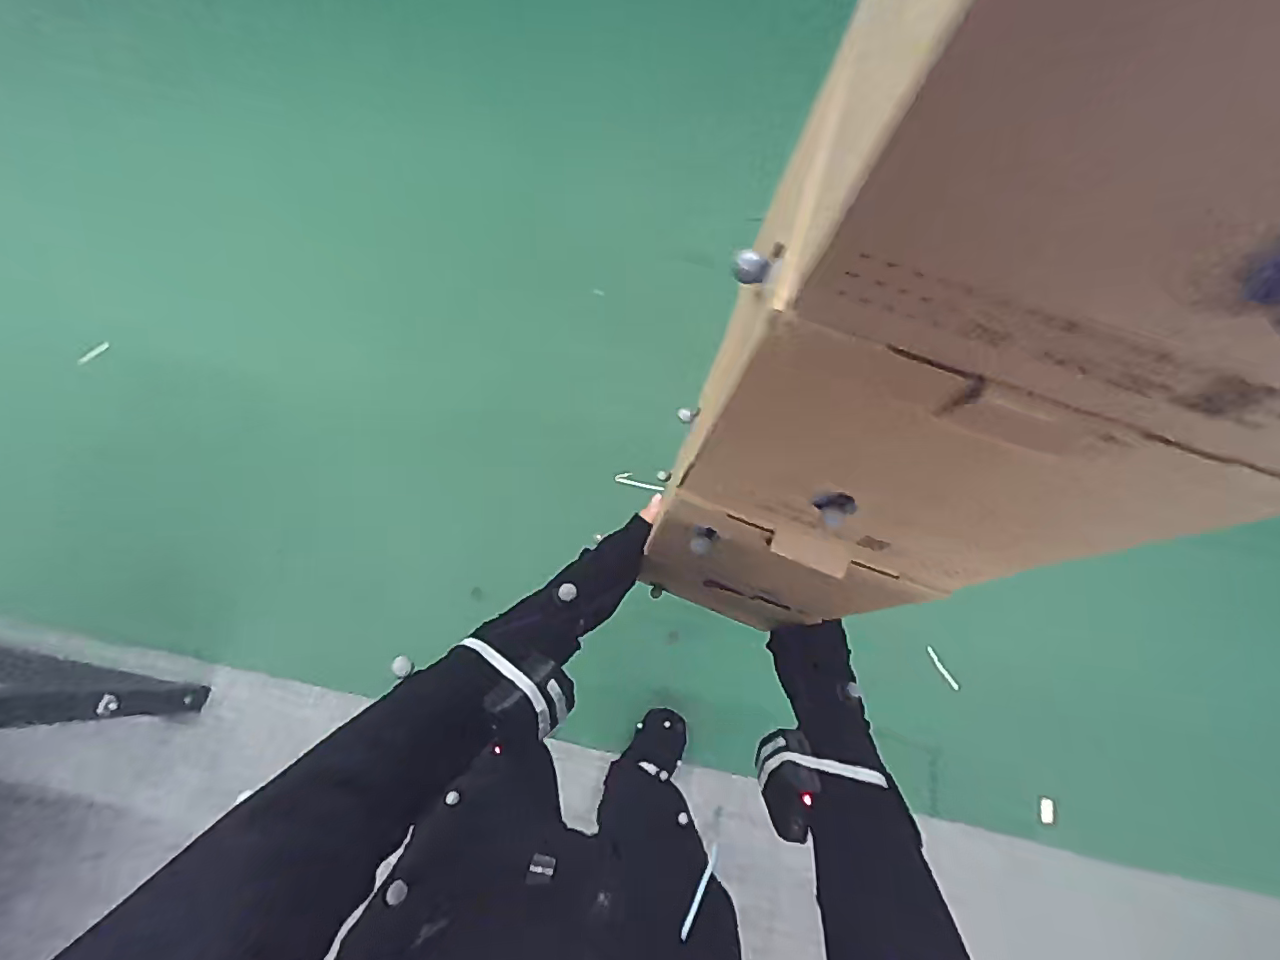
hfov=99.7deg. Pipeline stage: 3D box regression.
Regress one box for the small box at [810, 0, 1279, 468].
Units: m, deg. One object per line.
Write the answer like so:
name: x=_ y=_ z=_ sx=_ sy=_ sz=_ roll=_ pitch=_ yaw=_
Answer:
small box: x=0.154 y=-0.128 z=0.113 sx=0.168 sy=0.176 sz=0.179 roll=18 pitch=69 yaw=0

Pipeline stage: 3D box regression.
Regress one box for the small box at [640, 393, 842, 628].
small box: x=0.106 y=0.045 z=0.572 sx=0.168 sy=0.176 sz=0.179 roll=22 pitch=70 yaw=2

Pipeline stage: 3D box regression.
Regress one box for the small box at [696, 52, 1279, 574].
small box: x=0.137 y=-0.071 z=0.267 sx=0.168 sy=0.176 sz=0.179 roll=19 pitch=70 yaw=0
